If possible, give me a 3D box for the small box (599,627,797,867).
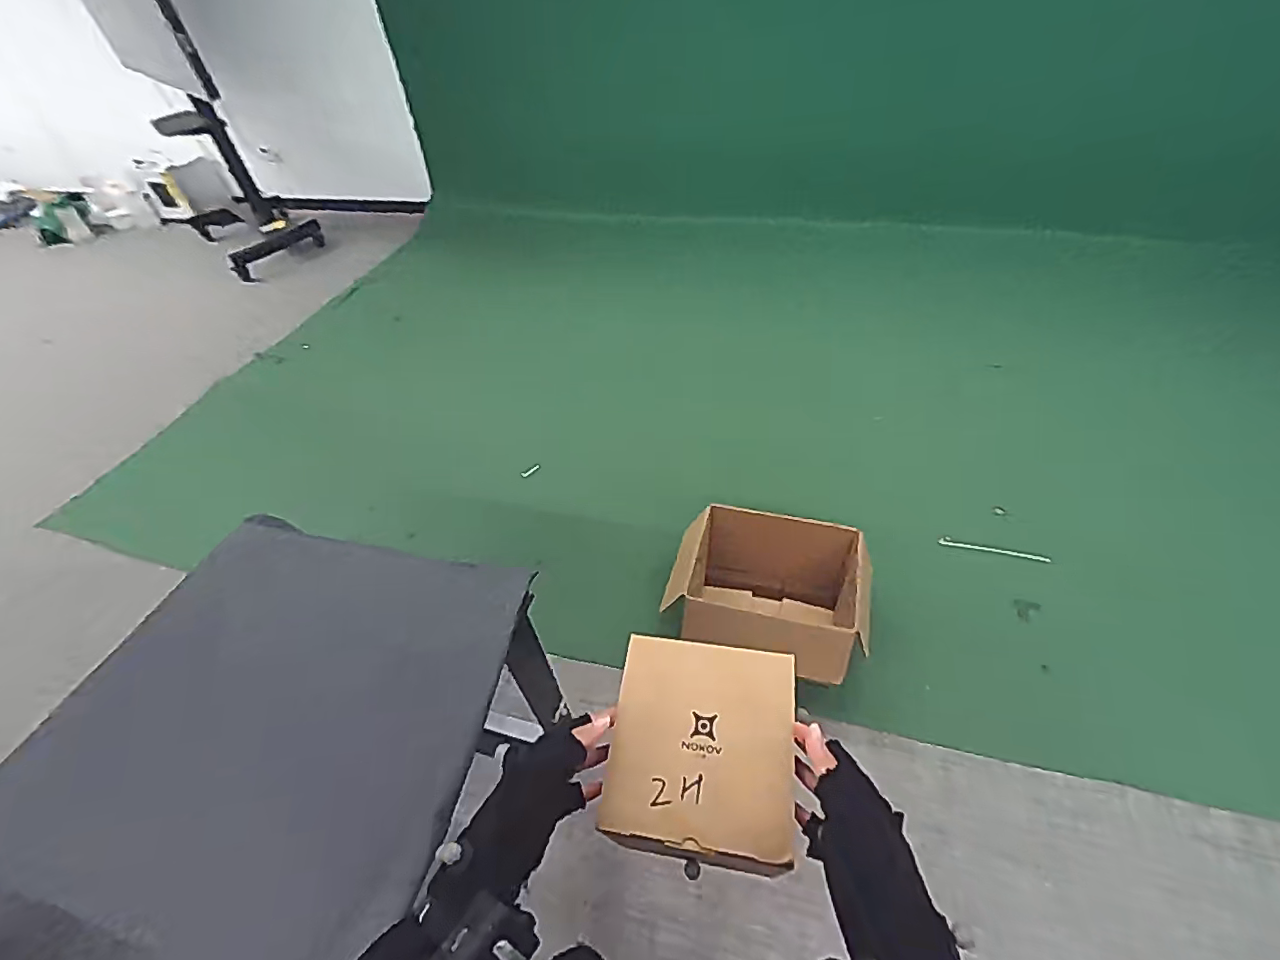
[{"bbox_3d":[0.066,0.276,0.558,0.168,0.176,0.179,4,53,11],"label":"small box"}]
